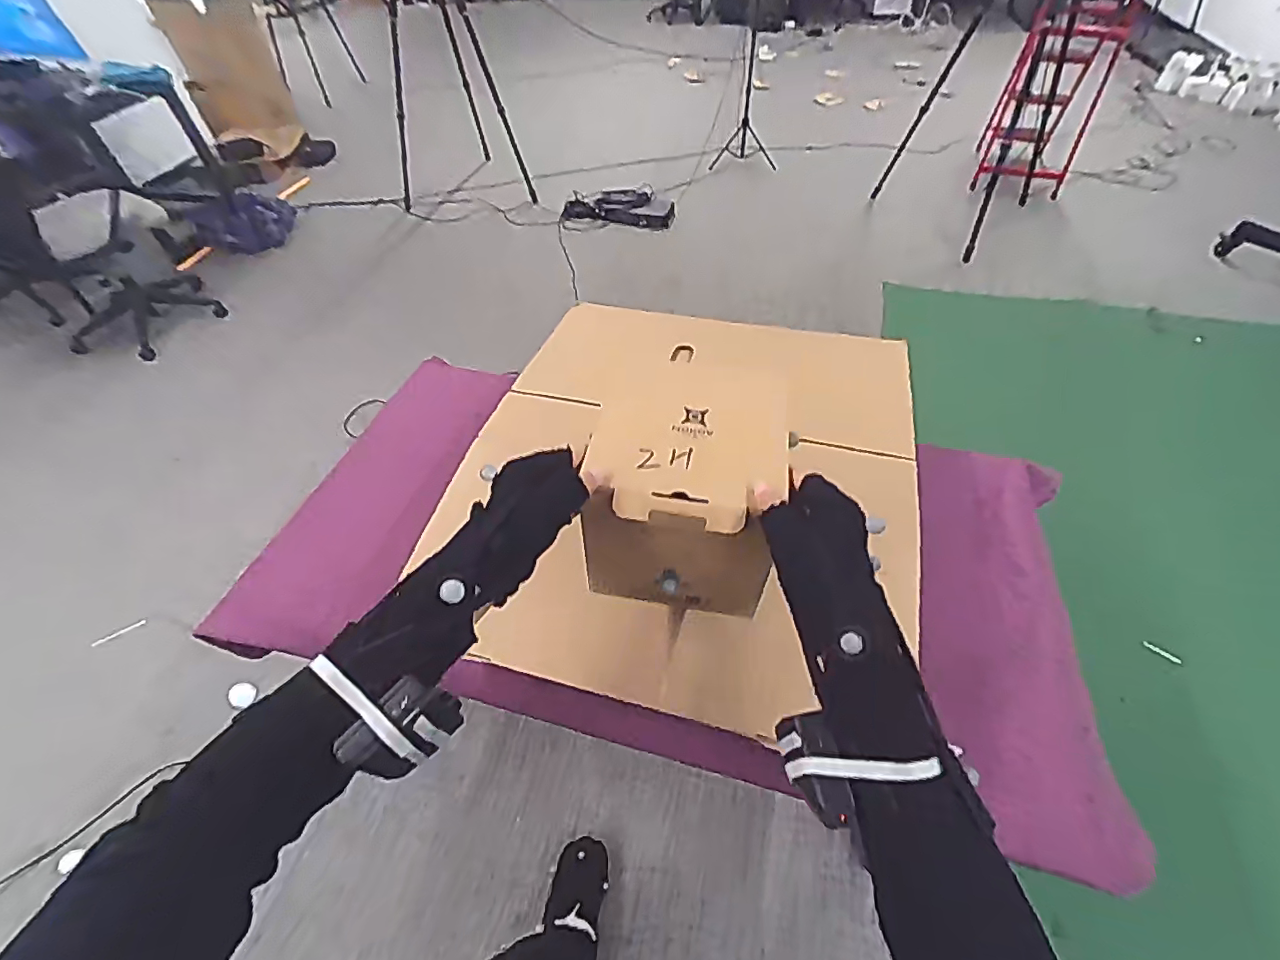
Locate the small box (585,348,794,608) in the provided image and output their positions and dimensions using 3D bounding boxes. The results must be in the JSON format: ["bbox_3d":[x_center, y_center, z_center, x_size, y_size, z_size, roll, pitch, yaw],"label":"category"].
[{"bbox_3d":[0.049,-0.002,0.531,0.168,0.176,0.179,9,50,7],"label":"small box"}]
